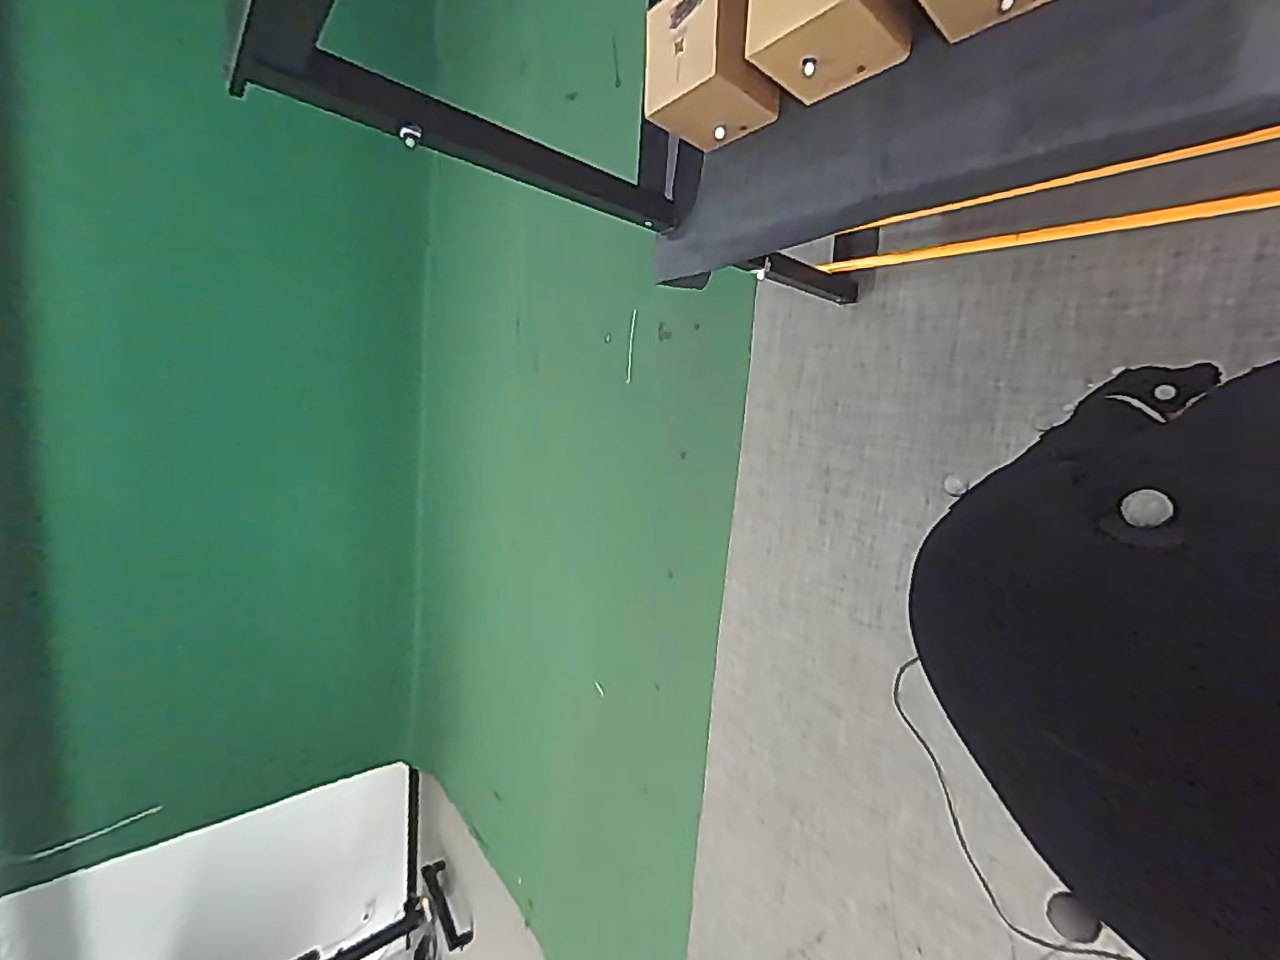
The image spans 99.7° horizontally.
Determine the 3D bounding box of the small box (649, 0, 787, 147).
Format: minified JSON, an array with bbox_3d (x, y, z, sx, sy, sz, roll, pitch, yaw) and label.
[{"bbox_3d":[0.134,-0.716,0.926,0.168,0.176,0.179,8,98,49],"label":"small box"}]
